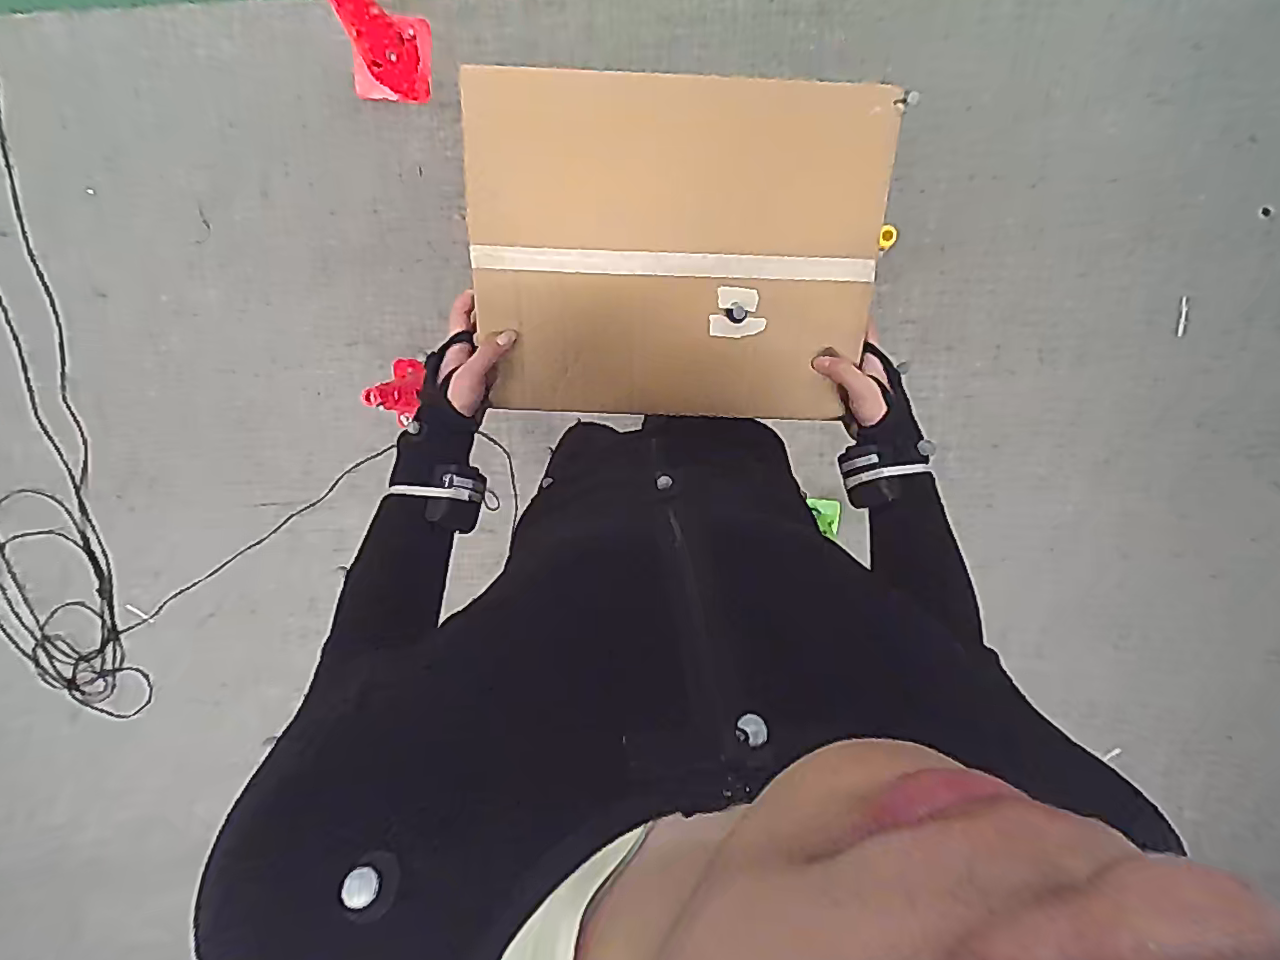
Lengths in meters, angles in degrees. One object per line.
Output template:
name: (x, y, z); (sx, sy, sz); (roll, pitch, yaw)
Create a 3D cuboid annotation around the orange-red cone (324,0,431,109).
orange-red cone: (-0.656, -1.063, 1.255); (0.199, 0.360, 0.198); (5, 99, 0)

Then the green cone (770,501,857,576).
green cone: (0.505, 0.191, 1.476); (0.200, 0.368, 0.202); (4, 98, -1)

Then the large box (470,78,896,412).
large box: (0.035, -0.273, 0.689); (0.408, 0.320, 0.320); (1, 112, -2)
